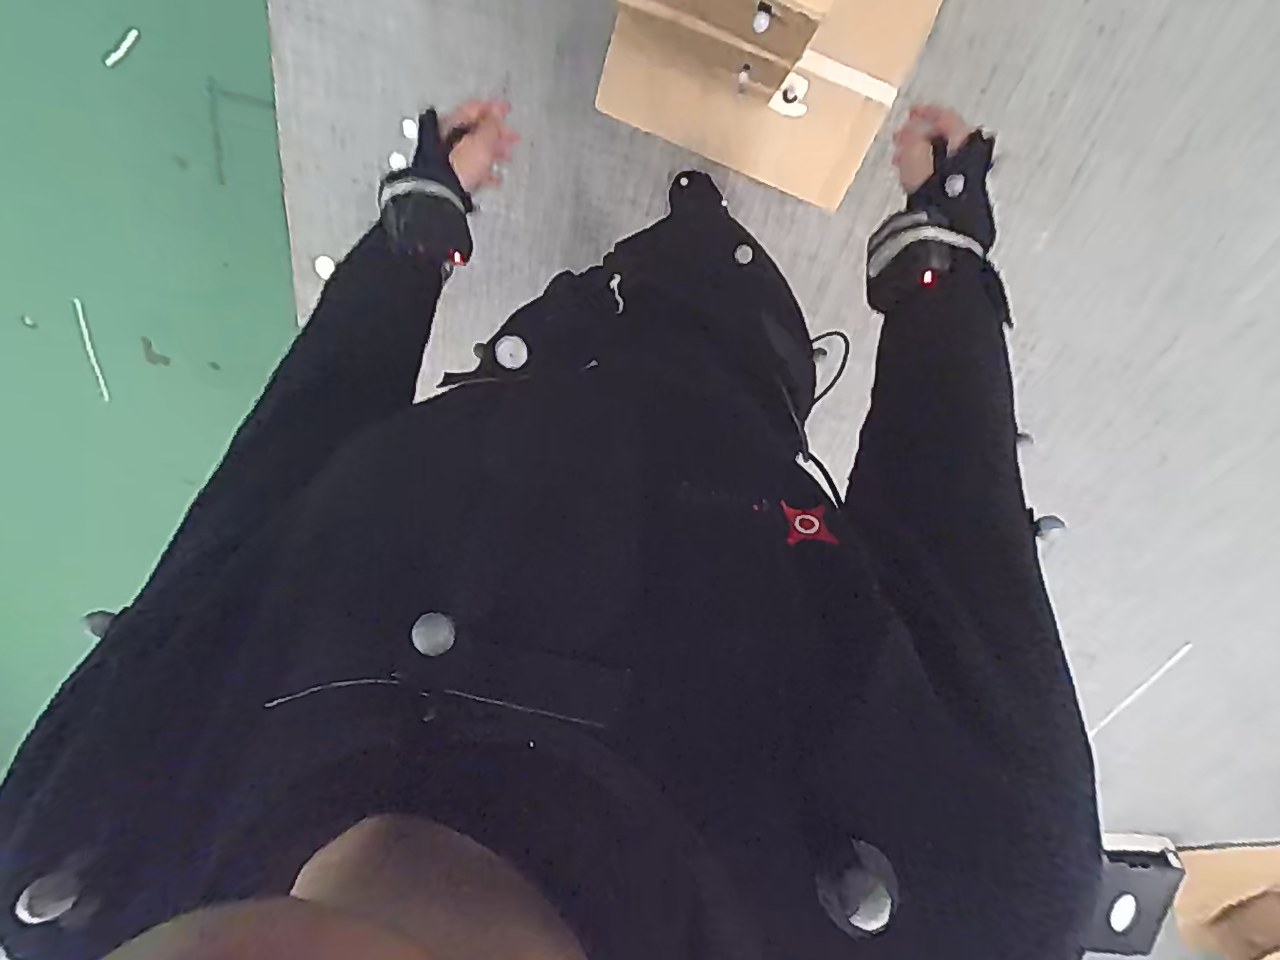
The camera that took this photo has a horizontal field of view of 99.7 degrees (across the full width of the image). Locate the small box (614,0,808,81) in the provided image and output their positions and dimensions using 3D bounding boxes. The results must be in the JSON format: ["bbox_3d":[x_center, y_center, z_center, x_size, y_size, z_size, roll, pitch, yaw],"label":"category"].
[{"bbox_3d":[0.092,-0.507,0.513,0.179,0.176,0.168,19,120,-1],"label":"small box"}]

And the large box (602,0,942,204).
[{"bbox_3d":[0.192,-0.684,0.868,0.408,0.320,0.320,21,122,-3],"label":"large box"}]

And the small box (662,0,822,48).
[{"bbox_3d":[0.074,-0.434,0.368,0.179,0.176,0.168,21,120,-3],"label":"small box"}]
